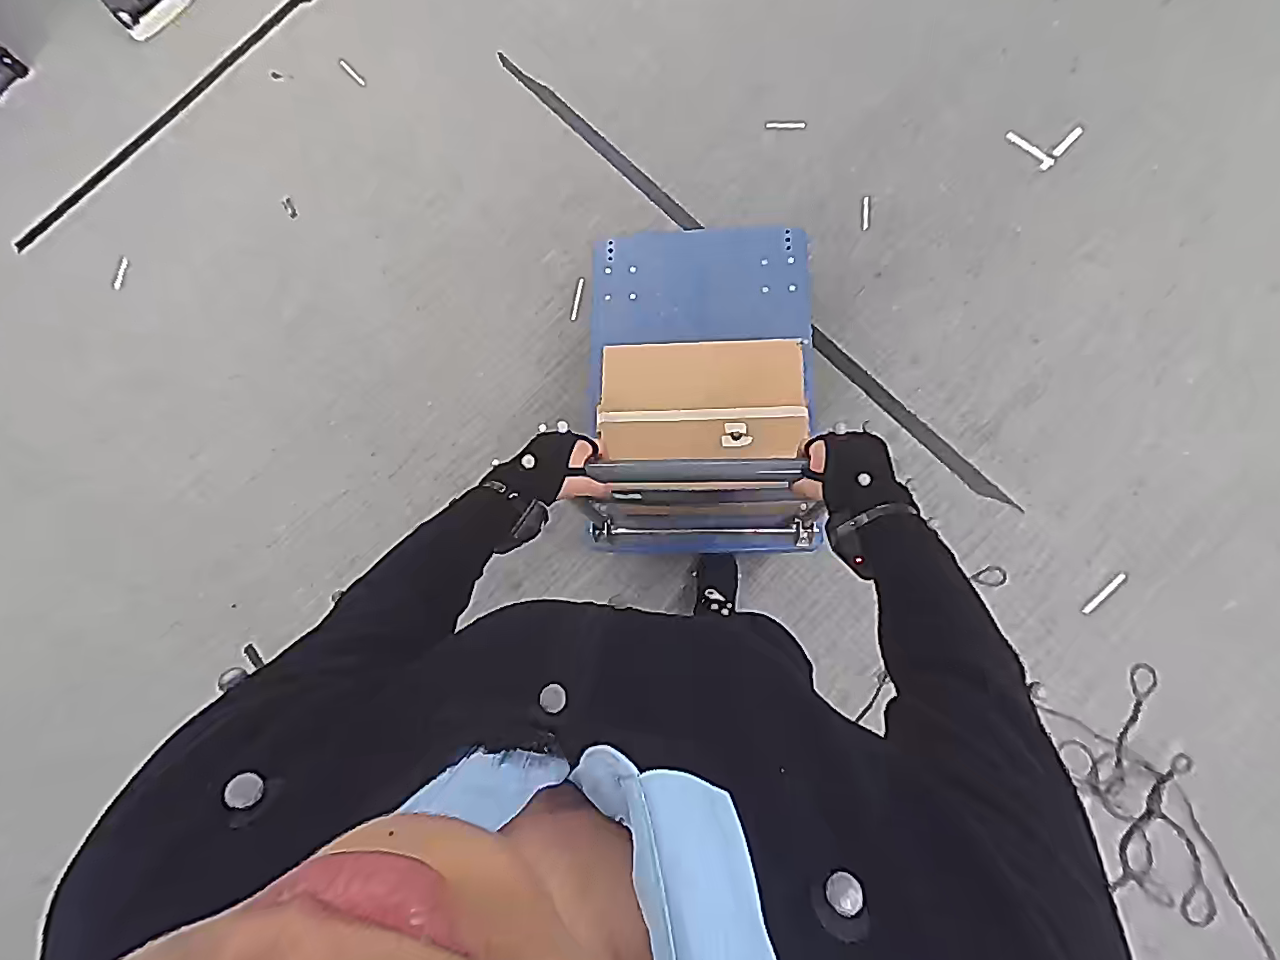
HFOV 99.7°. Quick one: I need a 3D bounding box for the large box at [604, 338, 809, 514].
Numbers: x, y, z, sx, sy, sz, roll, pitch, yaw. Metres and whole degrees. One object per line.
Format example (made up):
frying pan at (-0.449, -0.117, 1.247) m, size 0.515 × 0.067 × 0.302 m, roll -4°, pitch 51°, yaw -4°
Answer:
large box at (0.137, -0.101, 1.222) m, size 0.408 × 0.320 × 0.320 m, roll -1°, pitch 79°, yaw 5°
